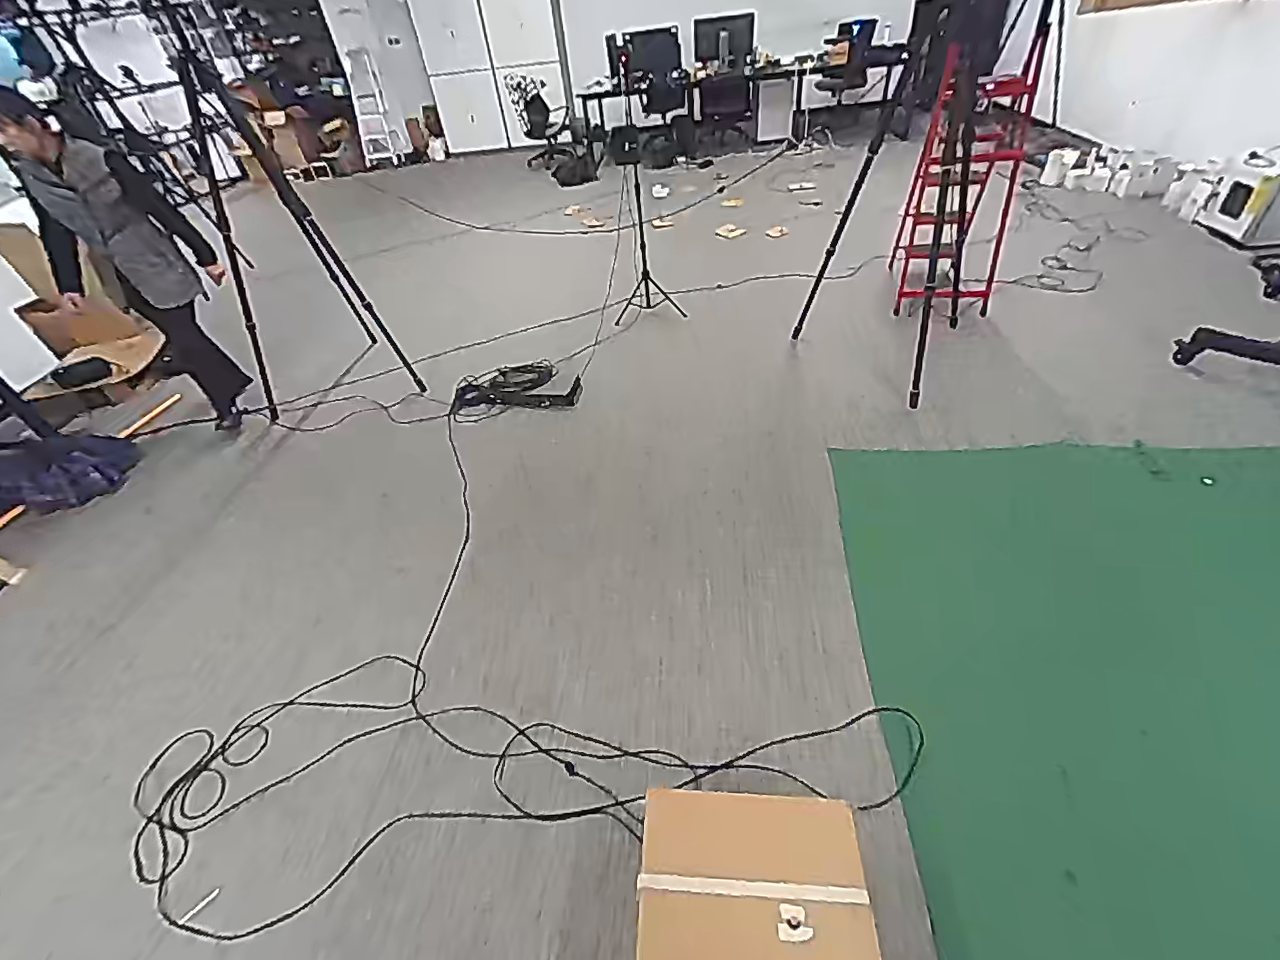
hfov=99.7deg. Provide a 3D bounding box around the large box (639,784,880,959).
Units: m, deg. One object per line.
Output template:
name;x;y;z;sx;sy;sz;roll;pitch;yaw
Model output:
large box;0.210;0.833;1.073;0.408;0.320;0.320;0;43;6
